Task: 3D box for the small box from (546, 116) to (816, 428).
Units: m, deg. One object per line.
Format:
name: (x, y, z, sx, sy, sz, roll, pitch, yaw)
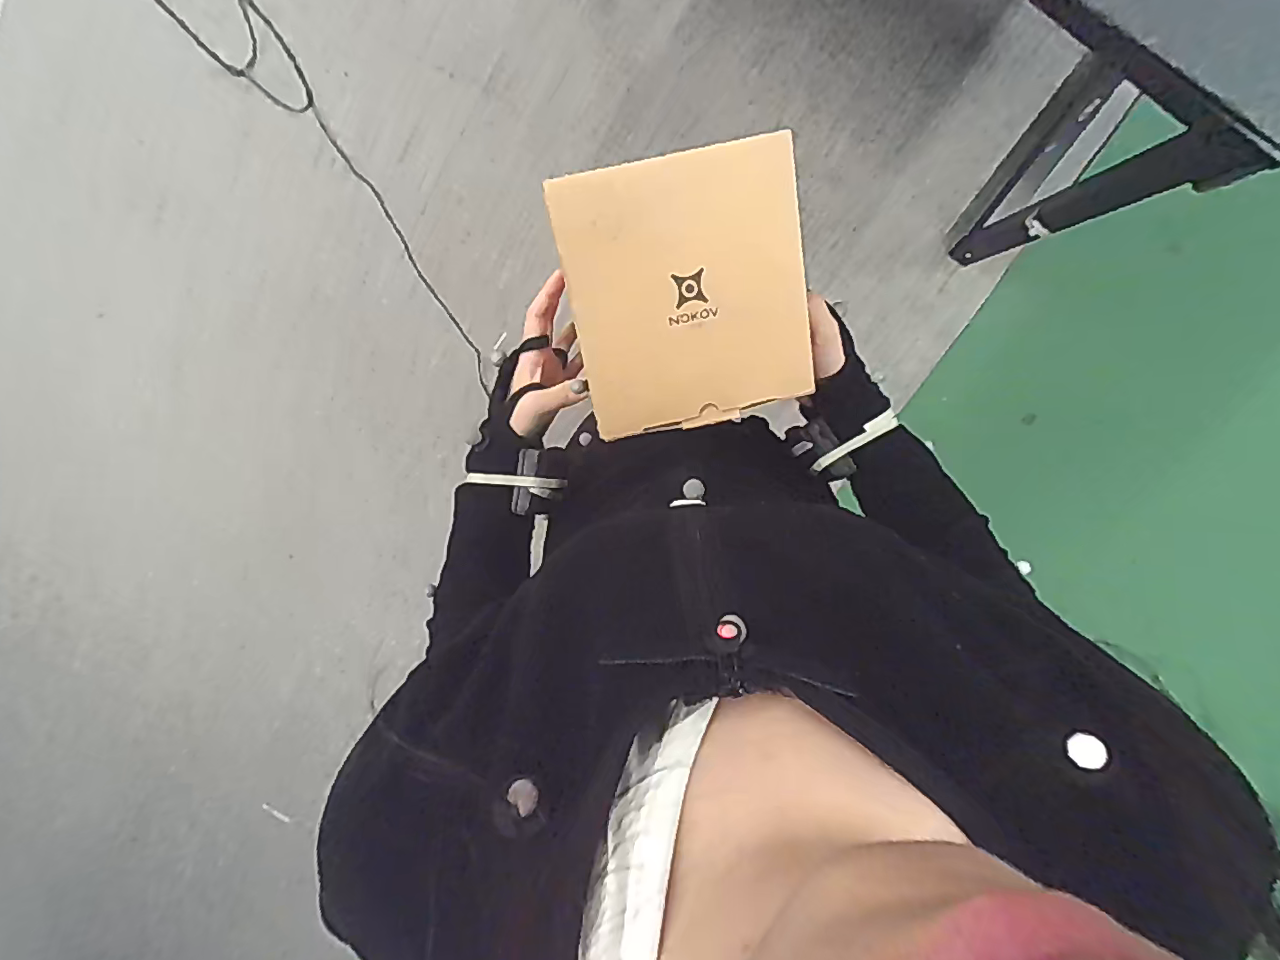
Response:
small box: (0.024, -0.159, 0.441, 0.168, 0.176, 0.179, -13, 110, -3)
